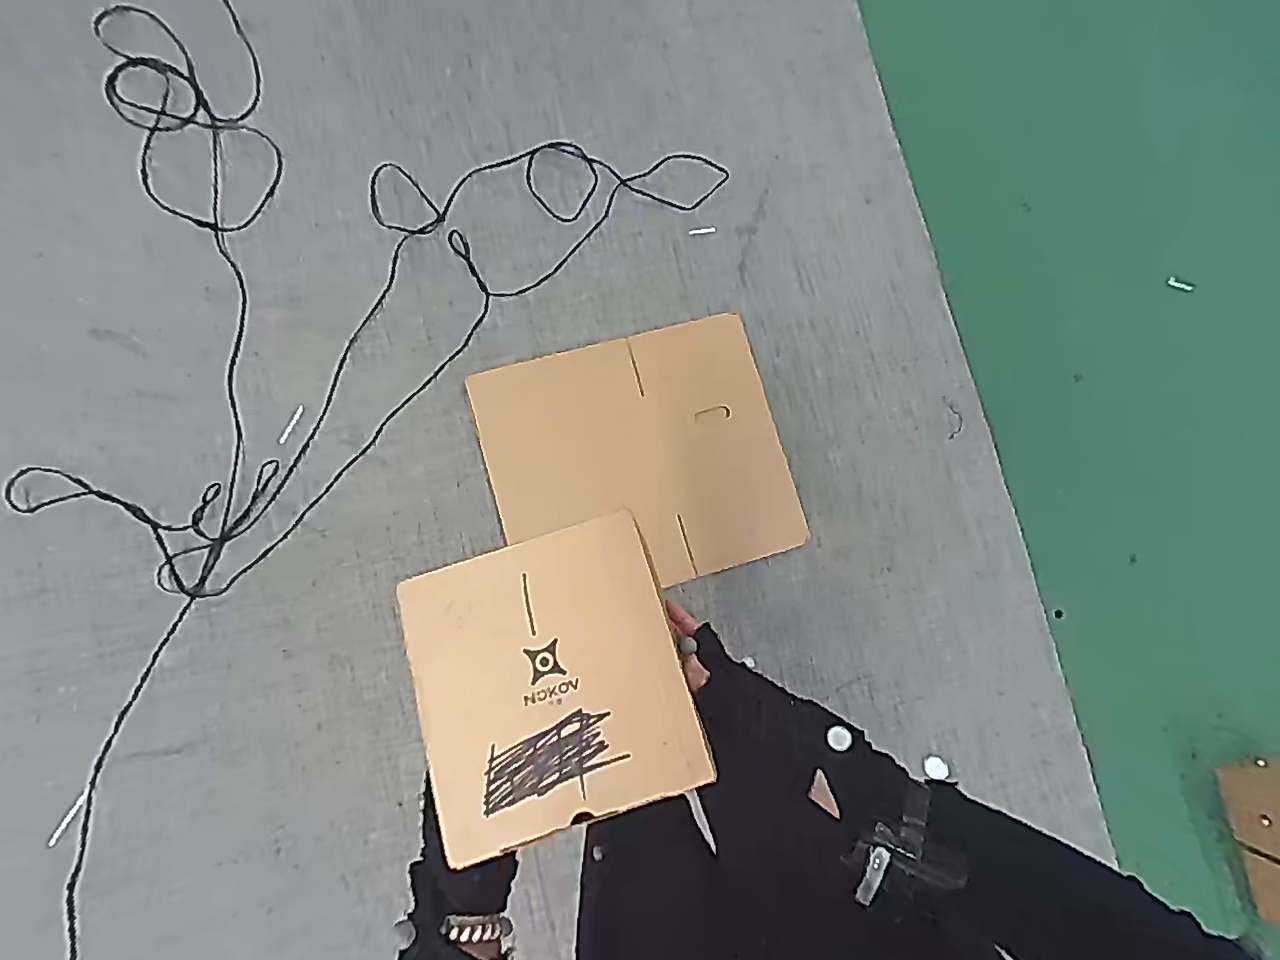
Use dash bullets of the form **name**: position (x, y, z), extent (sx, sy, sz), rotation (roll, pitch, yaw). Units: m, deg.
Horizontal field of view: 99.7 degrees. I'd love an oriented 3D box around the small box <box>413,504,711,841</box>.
- **small box**: position (-0.048, 0.138, 0.427), extent (0.168, 0.176, 0.179), rotation (-18, 74, 0)
